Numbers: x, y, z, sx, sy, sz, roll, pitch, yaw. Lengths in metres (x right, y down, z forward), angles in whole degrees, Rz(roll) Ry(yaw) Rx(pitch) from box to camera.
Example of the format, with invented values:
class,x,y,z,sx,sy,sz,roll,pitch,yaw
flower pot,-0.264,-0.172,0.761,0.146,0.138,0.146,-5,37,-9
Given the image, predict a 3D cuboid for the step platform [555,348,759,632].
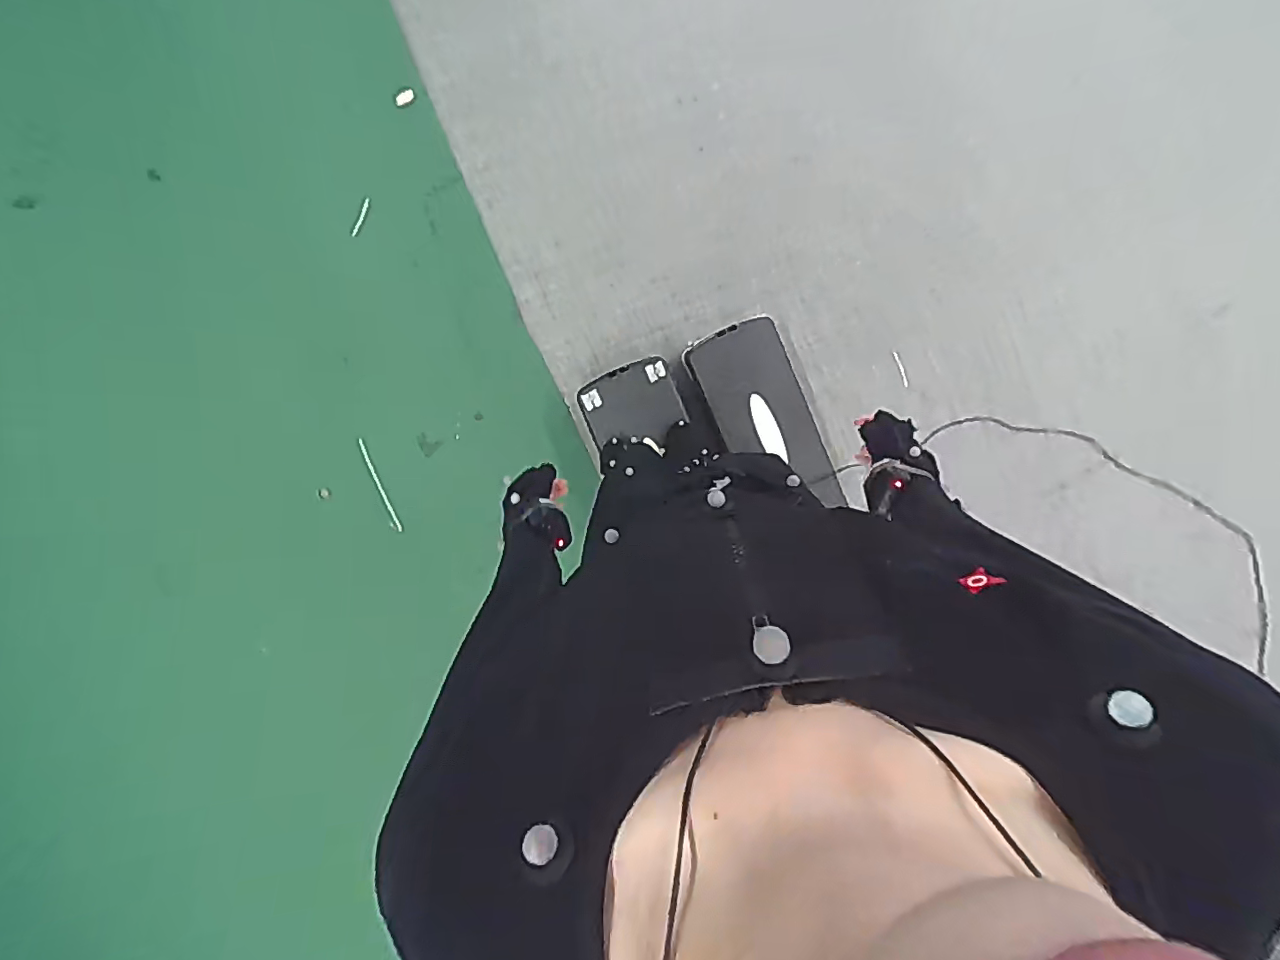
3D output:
class,x,y,z,sx,sy,sz,roll,pitch,yaw
step platform,0.042,0.025,1.390,0.286,0.204,0.684,-24,95,2
